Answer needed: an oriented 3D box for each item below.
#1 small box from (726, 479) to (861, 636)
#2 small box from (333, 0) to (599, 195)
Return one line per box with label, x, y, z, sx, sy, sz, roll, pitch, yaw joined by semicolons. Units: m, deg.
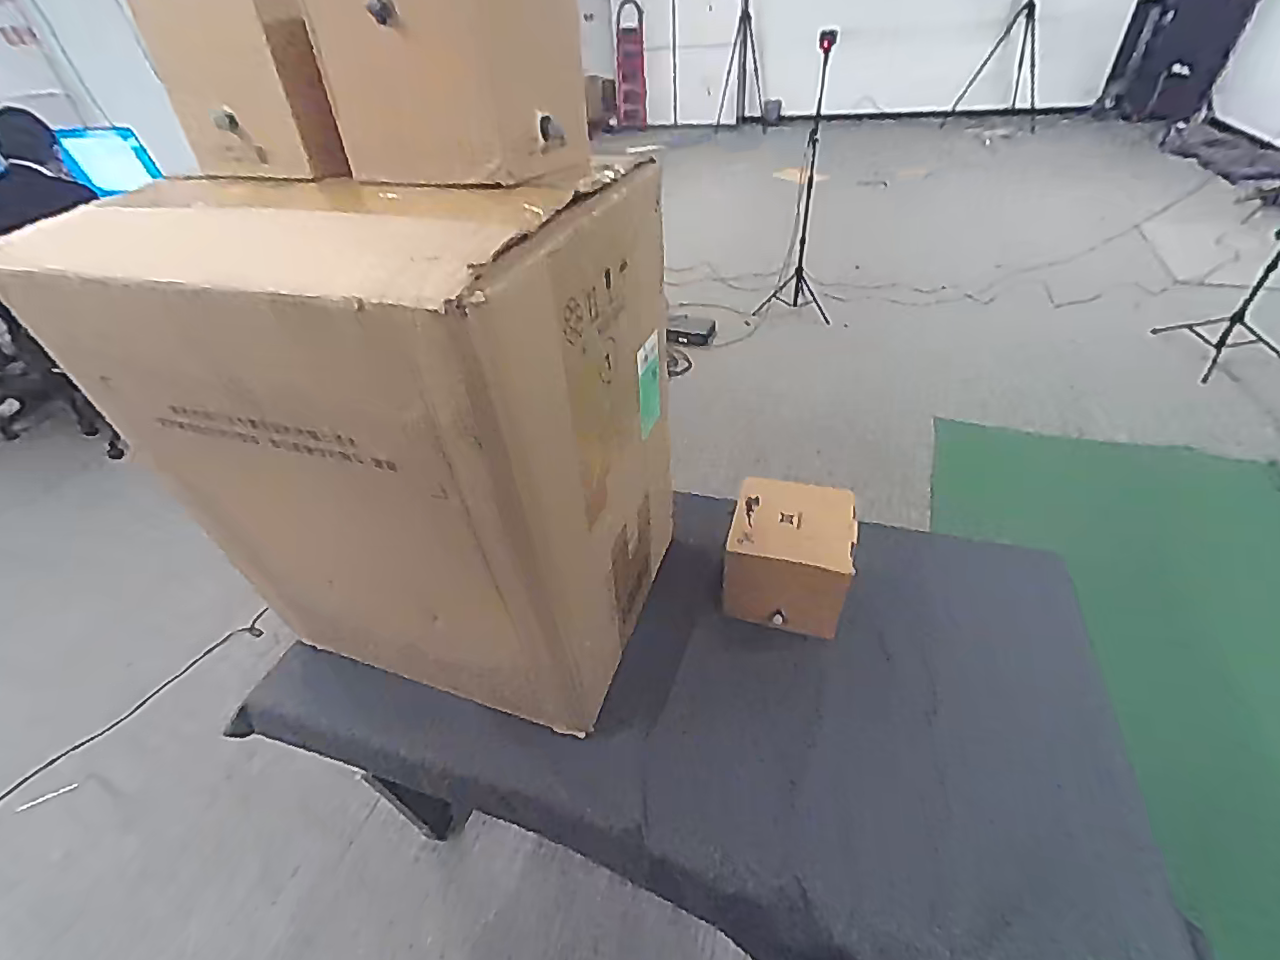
small box;0.242;0.126;0.868;0.179;0.176;0.168;10;44;16
small box;-0.151;-0.377;0.512;0.179;0.176;0.168;12;40;17
